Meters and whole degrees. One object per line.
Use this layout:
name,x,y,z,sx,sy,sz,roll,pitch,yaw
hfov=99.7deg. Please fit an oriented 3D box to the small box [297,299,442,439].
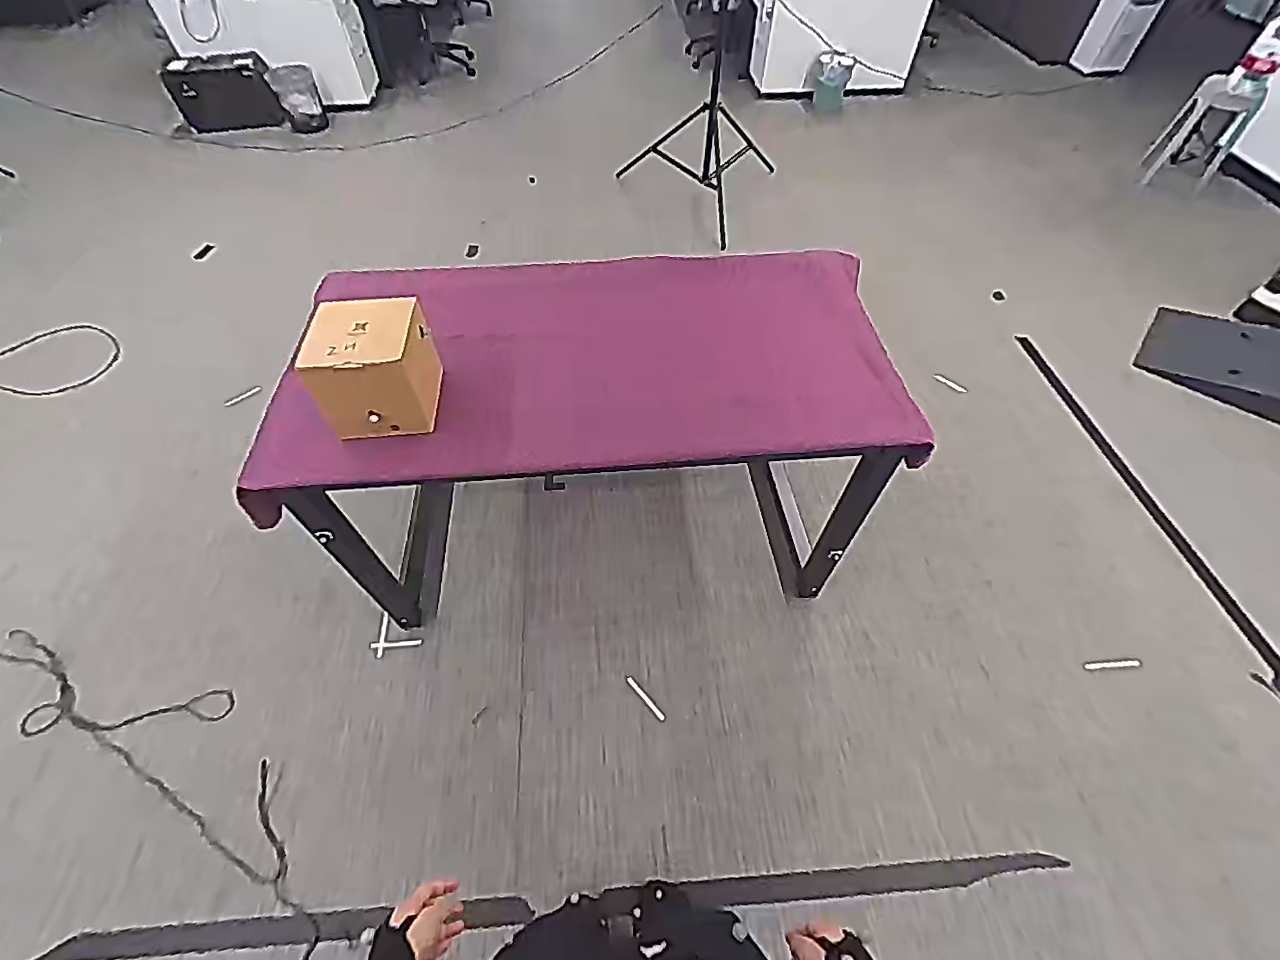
small box,-0.461,-0.195,0.957,0.168,0.176,0.179,-5,53,-3
